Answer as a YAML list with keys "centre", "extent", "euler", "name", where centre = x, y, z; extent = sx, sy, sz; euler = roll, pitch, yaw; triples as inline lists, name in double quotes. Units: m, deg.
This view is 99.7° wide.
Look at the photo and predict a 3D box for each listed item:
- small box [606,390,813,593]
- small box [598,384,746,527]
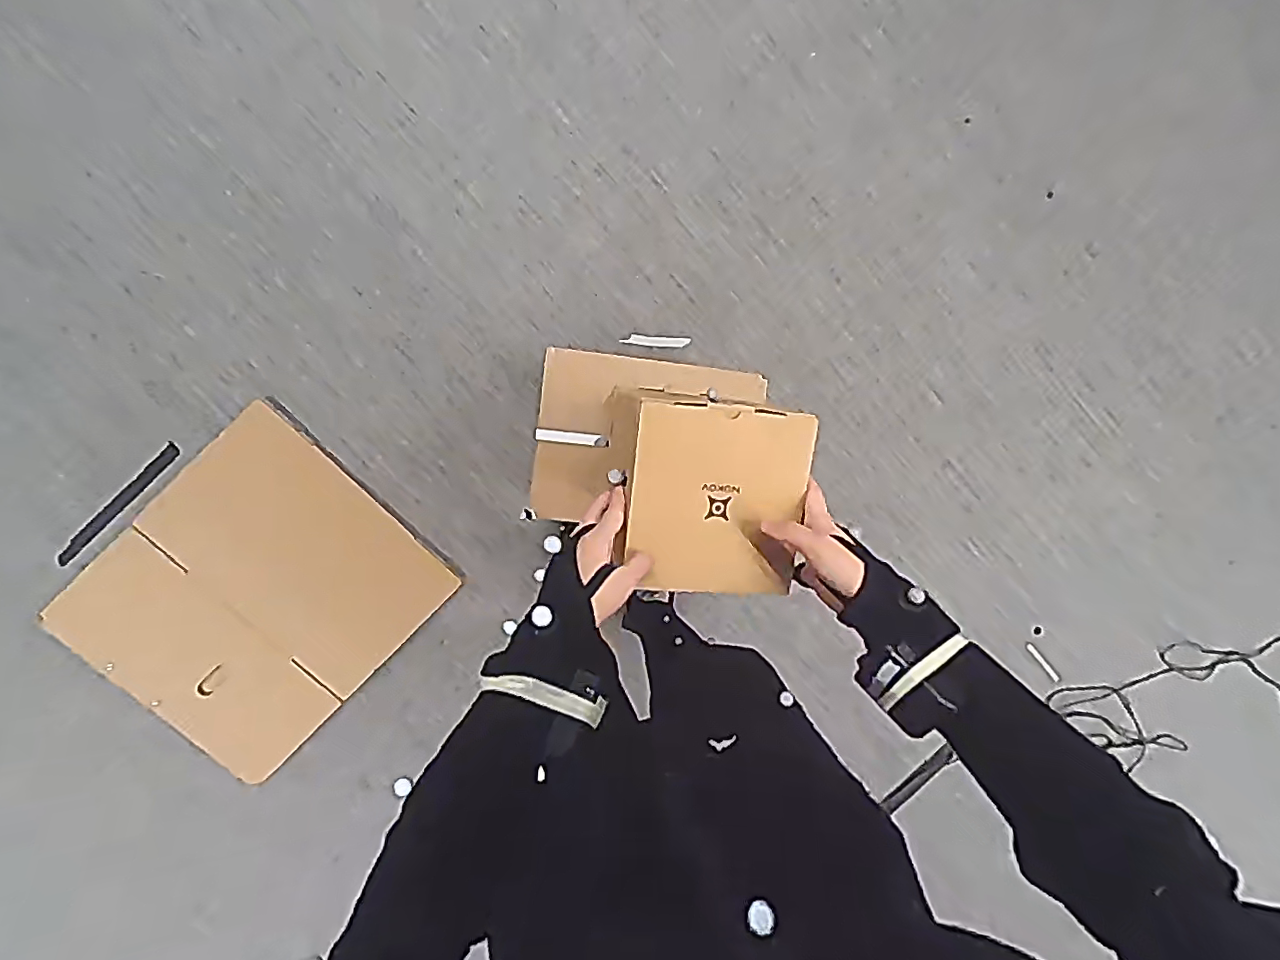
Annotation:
- centre: [0.057, 0.002, 0.568]
  extent: [0.168, 0.176, 0.179]
  euler: [4, 99, -9]
  name: "small box"
- centre: [0.033, -0.027, 0.738]
  extent: [0.168, 0.176, 0.179]
  euler: [6, 94, -6]
  name: "small box"
